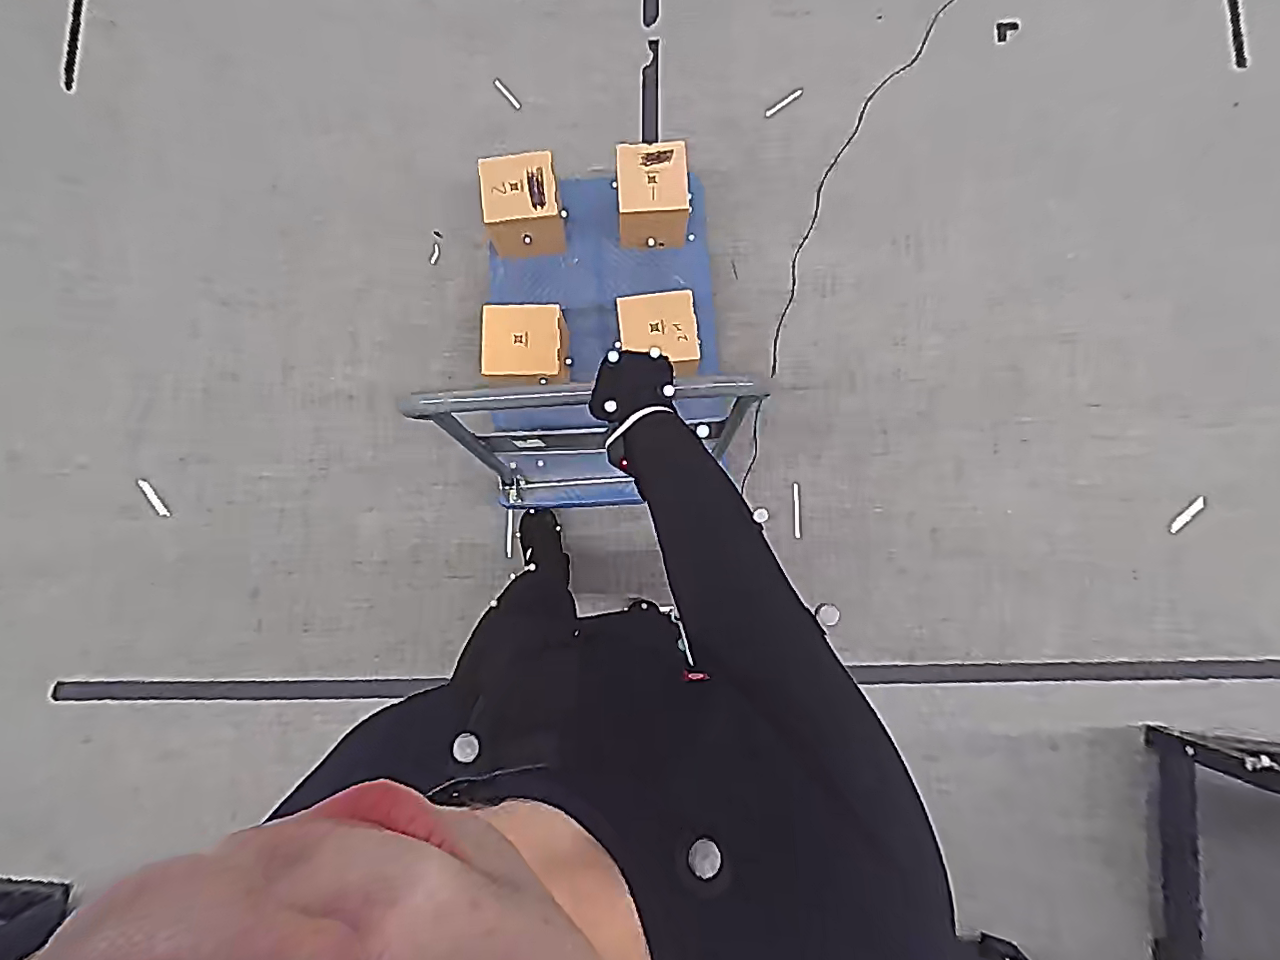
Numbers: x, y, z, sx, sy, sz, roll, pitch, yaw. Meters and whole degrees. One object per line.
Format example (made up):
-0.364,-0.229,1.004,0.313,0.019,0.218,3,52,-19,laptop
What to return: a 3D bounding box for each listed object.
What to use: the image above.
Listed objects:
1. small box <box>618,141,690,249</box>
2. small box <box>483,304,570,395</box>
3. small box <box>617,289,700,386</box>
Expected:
0.031,-0.702,1.344,0.168,0.176,0.179,-3,84,0,small box
-0.266,-0.307,1.295,0.179,0.176,0.168,-1,82,-1,small box
0.044,-0.333,1.295,0.179,0.176,0.168,-6,83,0,small box
